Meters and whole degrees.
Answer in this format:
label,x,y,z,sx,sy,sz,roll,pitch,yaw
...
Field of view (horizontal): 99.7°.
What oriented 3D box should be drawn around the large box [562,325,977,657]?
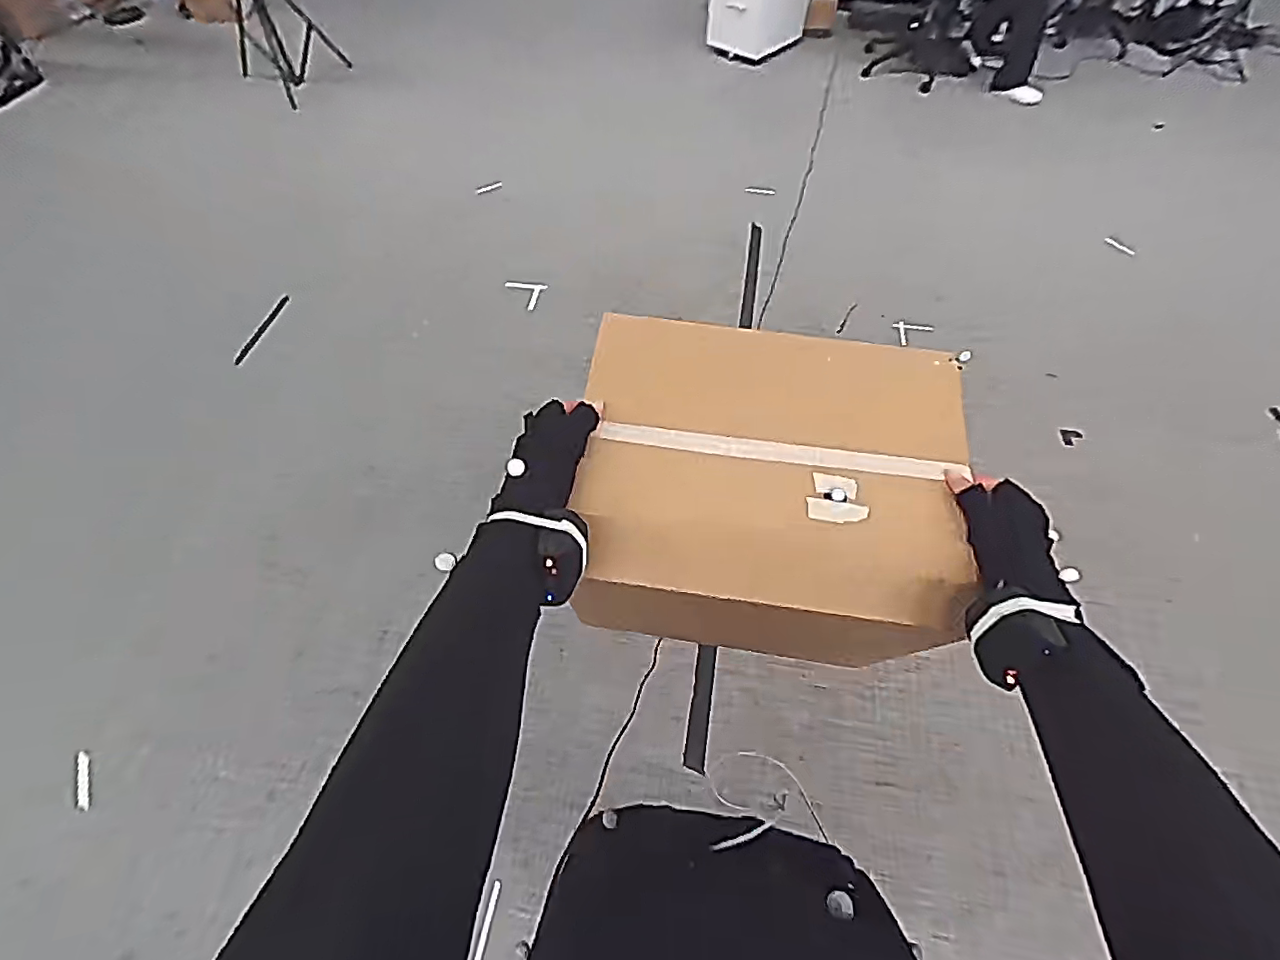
label,x,y,z,sx,sy,sz,roll,pitch,yaw
large box,0.137,0.035,0.708,0.408,0.320,0.320,7,67,4
